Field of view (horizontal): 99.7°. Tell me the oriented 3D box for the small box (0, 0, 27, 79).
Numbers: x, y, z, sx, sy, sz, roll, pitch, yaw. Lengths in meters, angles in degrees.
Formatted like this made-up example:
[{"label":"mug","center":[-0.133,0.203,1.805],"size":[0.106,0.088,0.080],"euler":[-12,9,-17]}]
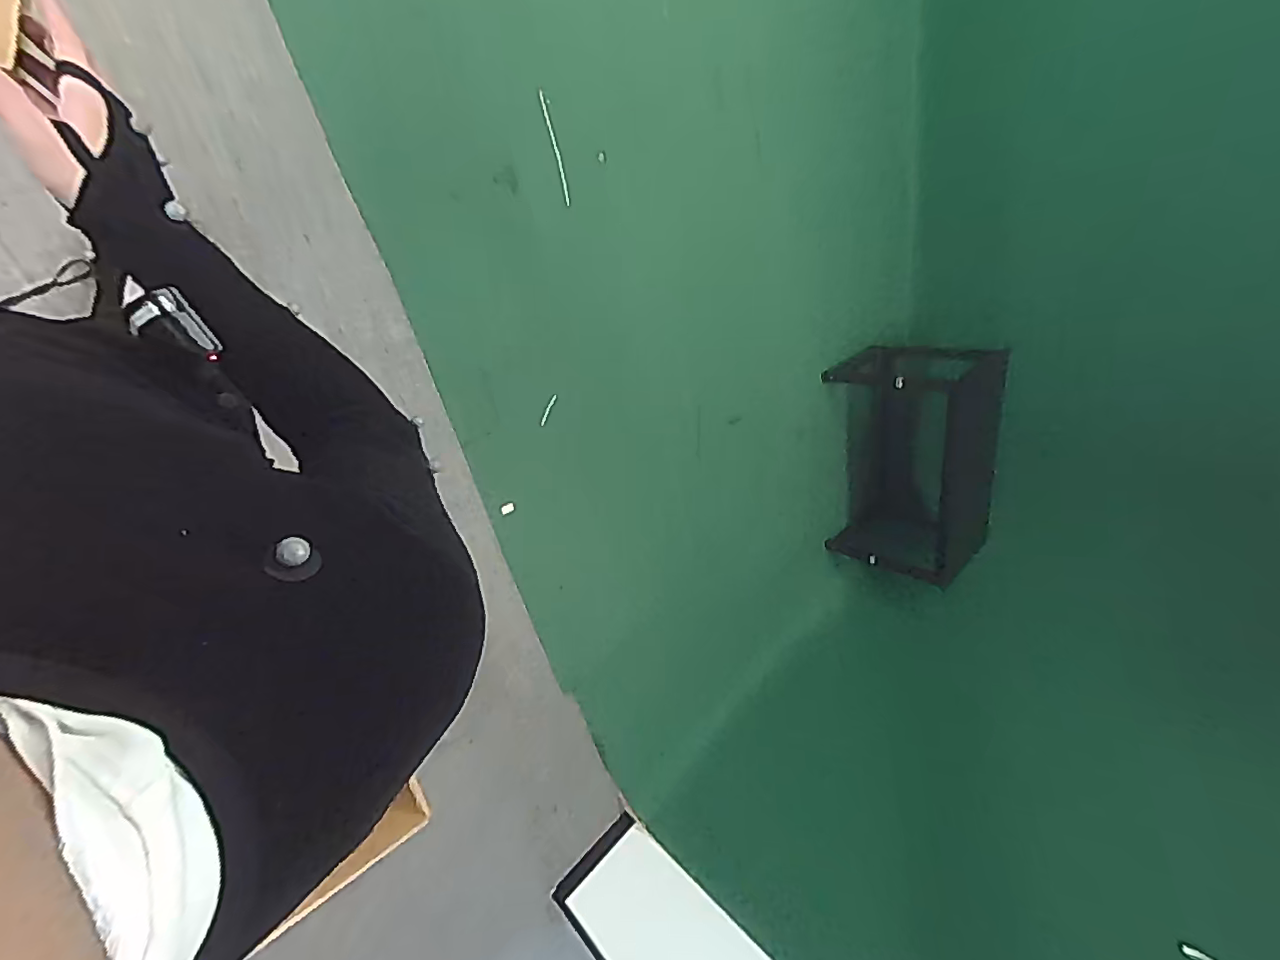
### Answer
[{"label":"small box","center":[-0.548,-0.417,0.370],"size":[0.168,0.176,0.179],"euler":[5,107,-47]}]
